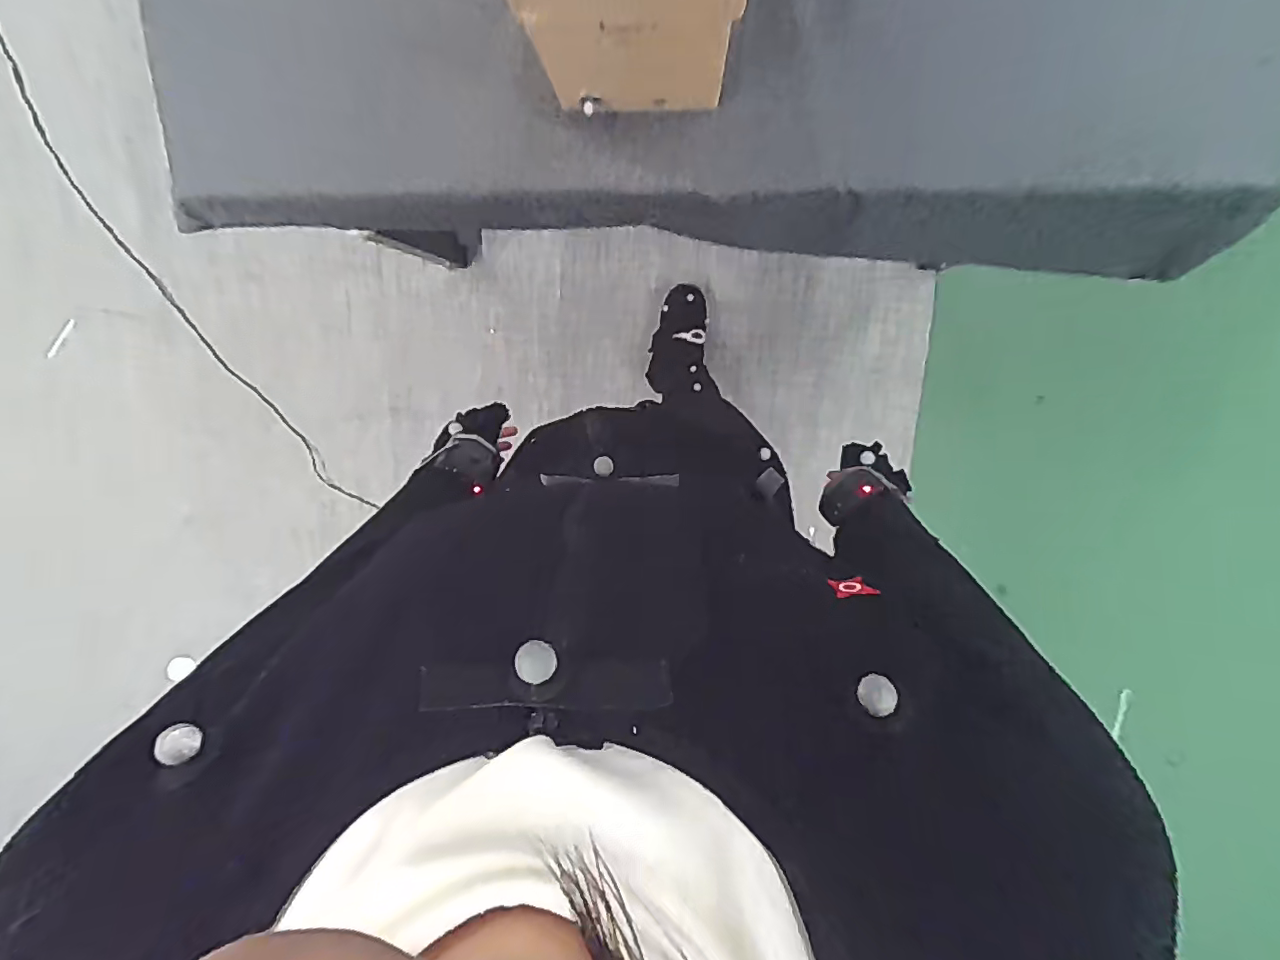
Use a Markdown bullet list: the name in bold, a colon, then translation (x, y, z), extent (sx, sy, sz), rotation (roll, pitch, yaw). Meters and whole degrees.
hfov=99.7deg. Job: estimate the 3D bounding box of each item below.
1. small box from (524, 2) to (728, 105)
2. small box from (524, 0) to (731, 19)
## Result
- **small box**: translation (-0.003, -0.463, 0.481), extent (0.168, 0.176, 0.179), rotation (1, 102, 4)
- **small box**: translation (-0.011, -0.422, 0.326), extent (0.179, 0.176, 0.168), rotation (-1, 101, 4)
